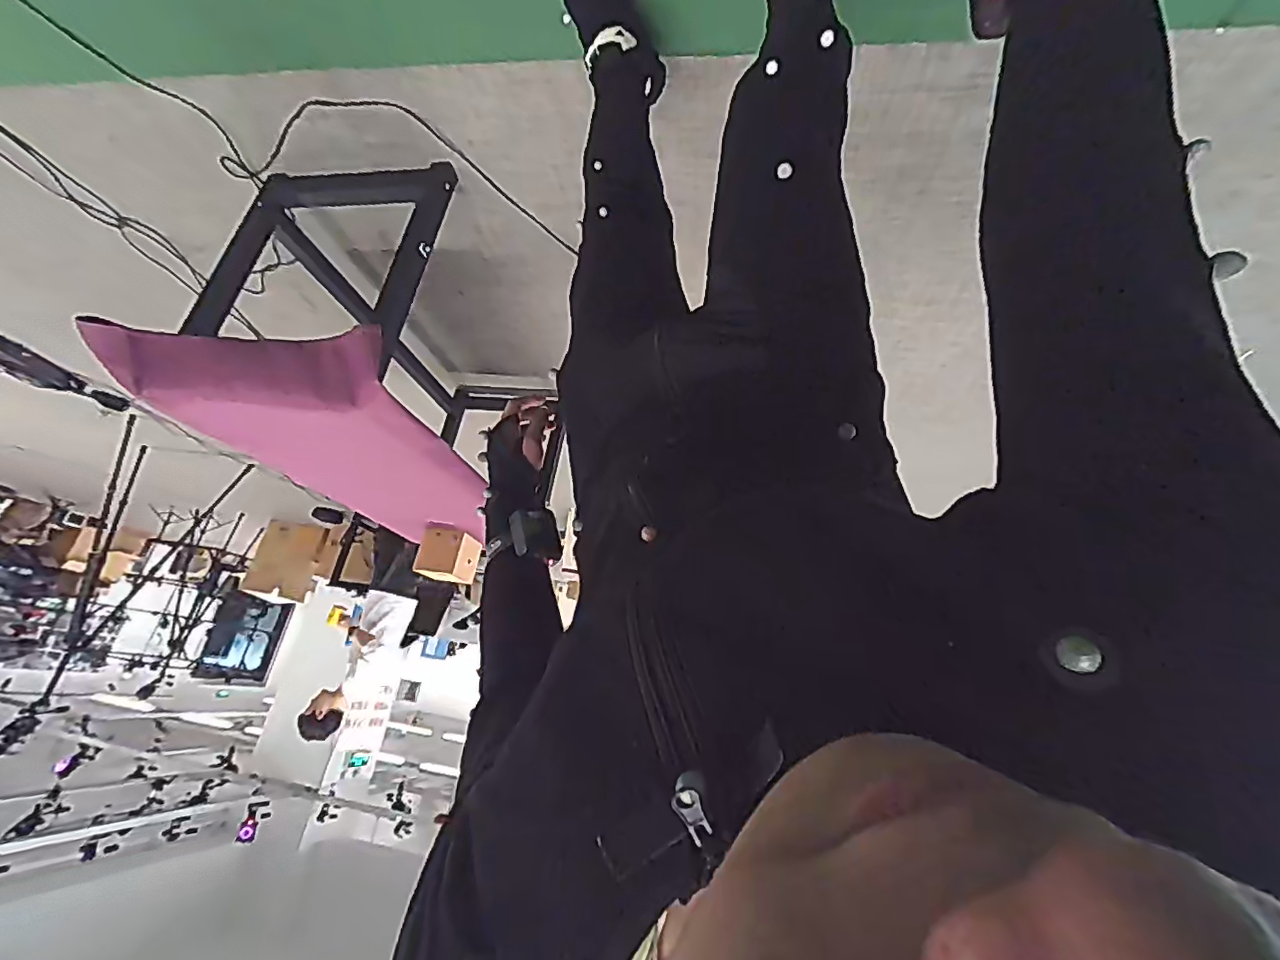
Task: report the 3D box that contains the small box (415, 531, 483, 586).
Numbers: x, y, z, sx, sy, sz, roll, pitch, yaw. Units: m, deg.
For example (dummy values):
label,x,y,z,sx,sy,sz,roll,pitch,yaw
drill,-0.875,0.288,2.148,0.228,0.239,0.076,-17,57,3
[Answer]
label,x,y,z,sx,sy,sz,roll,pitch,yaw
small box,-0.729,0.302,2.077,0.168,0.176,0.179,6,160,10
